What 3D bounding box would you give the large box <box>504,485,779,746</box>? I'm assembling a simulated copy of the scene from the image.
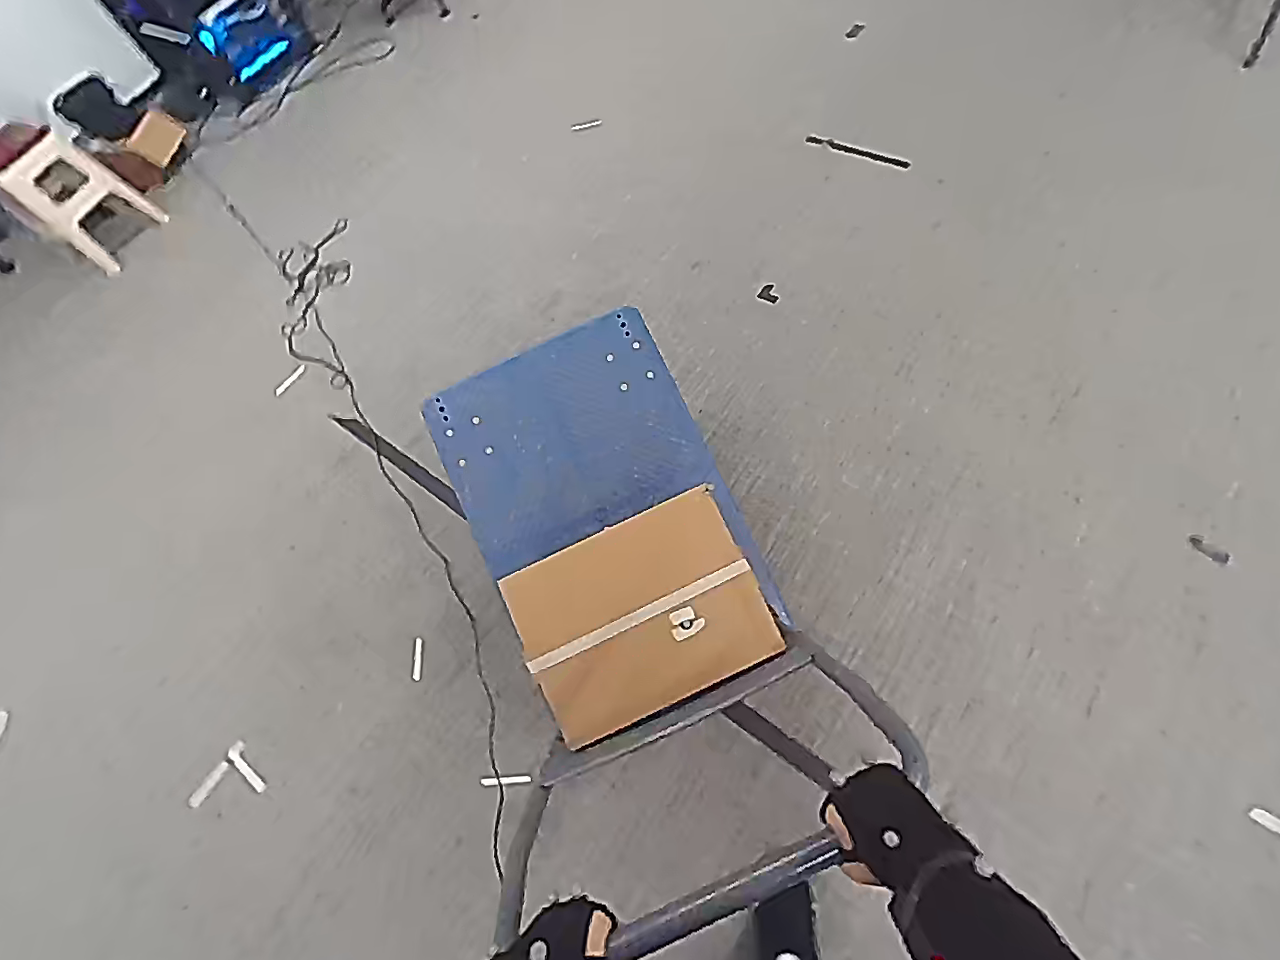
[{"bbox_3d":[0.002,0.252,1.089,0.408,0.320,0.320,-26,83,-3],"label":"large box"}]
